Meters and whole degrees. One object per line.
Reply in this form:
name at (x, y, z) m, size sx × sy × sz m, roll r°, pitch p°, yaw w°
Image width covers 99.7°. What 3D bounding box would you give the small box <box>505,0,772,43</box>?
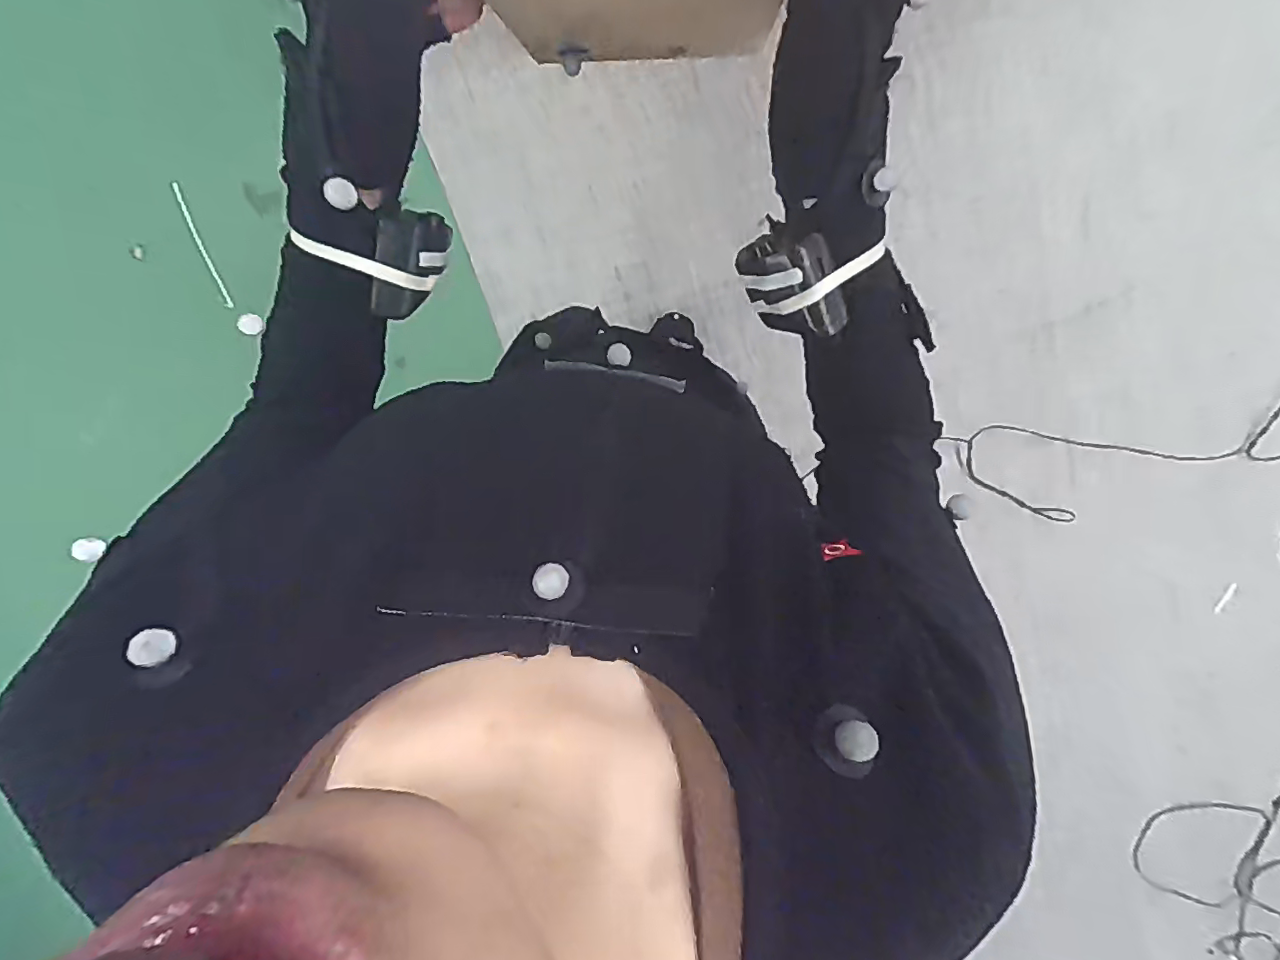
small box at (-0.002, -0.352, 0.274) m, size 0.168 × 0.176 × 0.179 m, roll 1°, pitch 112°, yaw 4°
